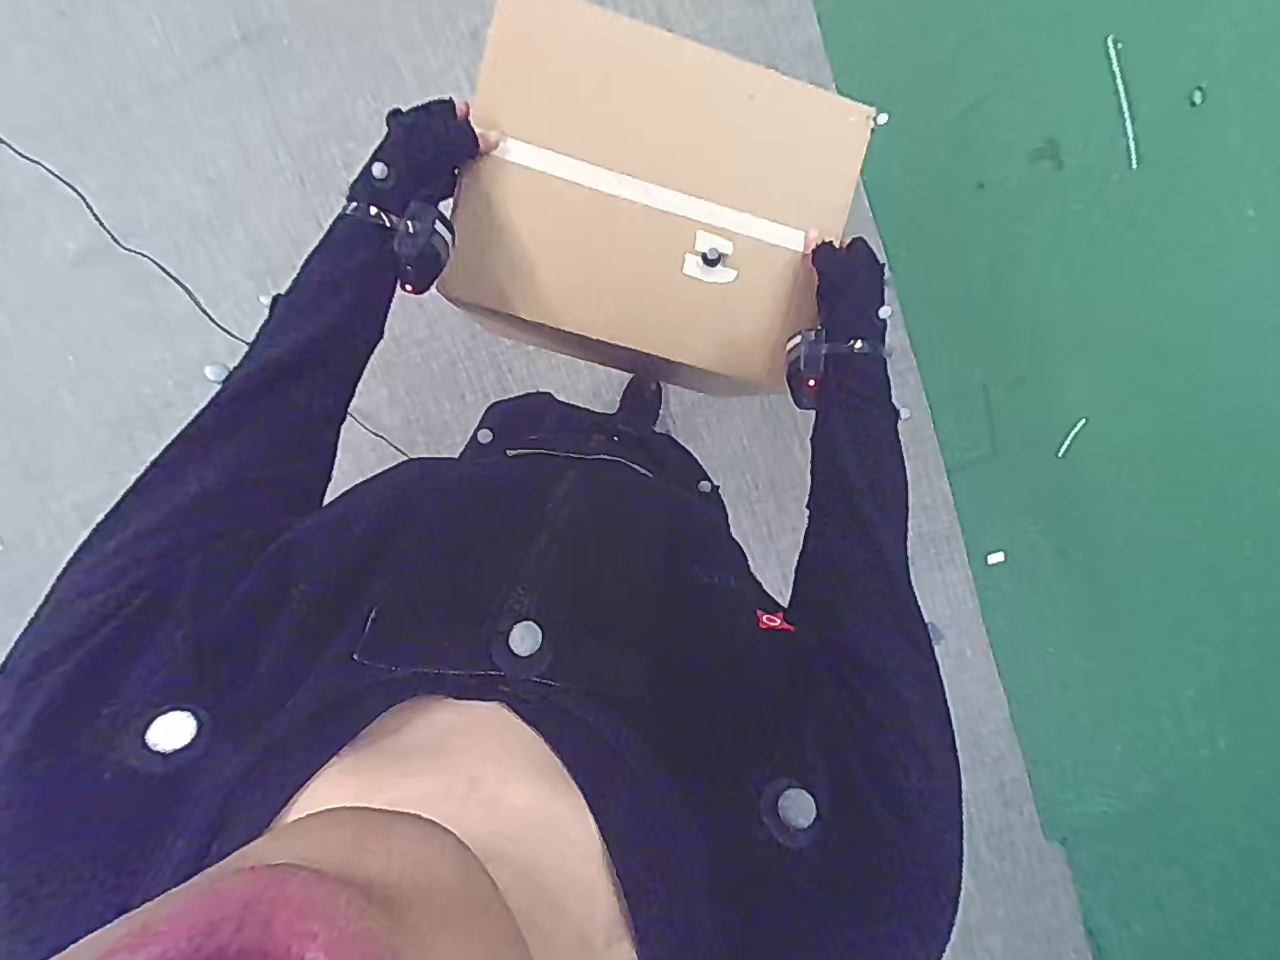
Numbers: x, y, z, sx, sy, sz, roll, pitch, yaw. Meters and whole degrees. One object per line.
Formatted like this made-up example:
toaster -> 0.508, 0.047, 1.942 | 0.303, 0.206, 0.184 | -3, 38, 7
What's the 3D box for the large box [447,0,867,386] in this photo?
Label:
large box -> 0.002, -0.324, 0.715 | 0.408, 0.320, 0.320 | 13, 97, -10
